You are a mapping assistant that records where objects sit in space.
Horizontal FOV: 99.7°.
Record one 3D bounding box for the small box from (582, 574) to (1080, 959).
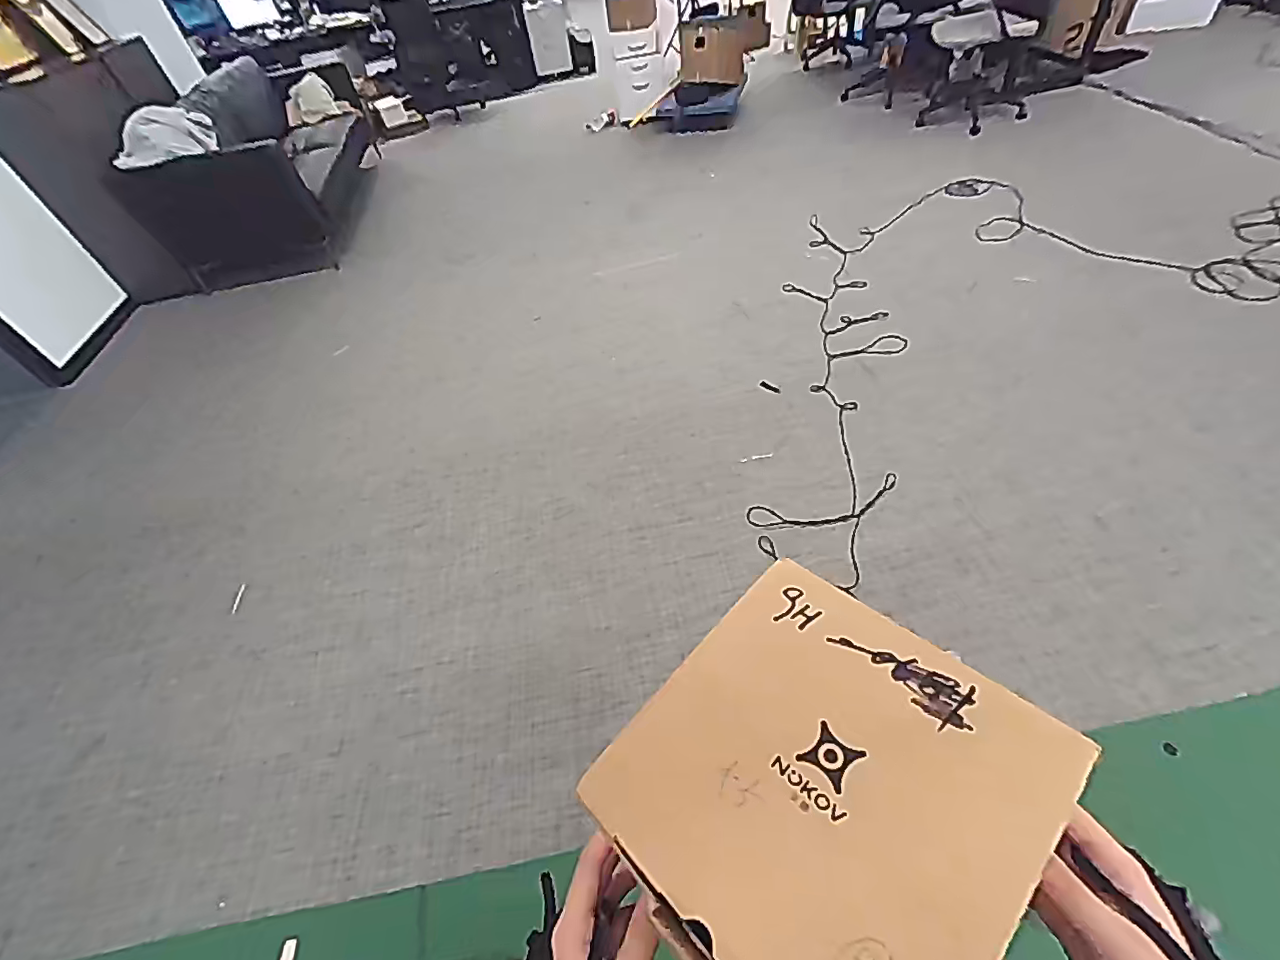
[{"bbox_3d":[0.101,0.197,0.314,0.179,0.176,0.168,-42,50,-21],"label":"small box"}]
